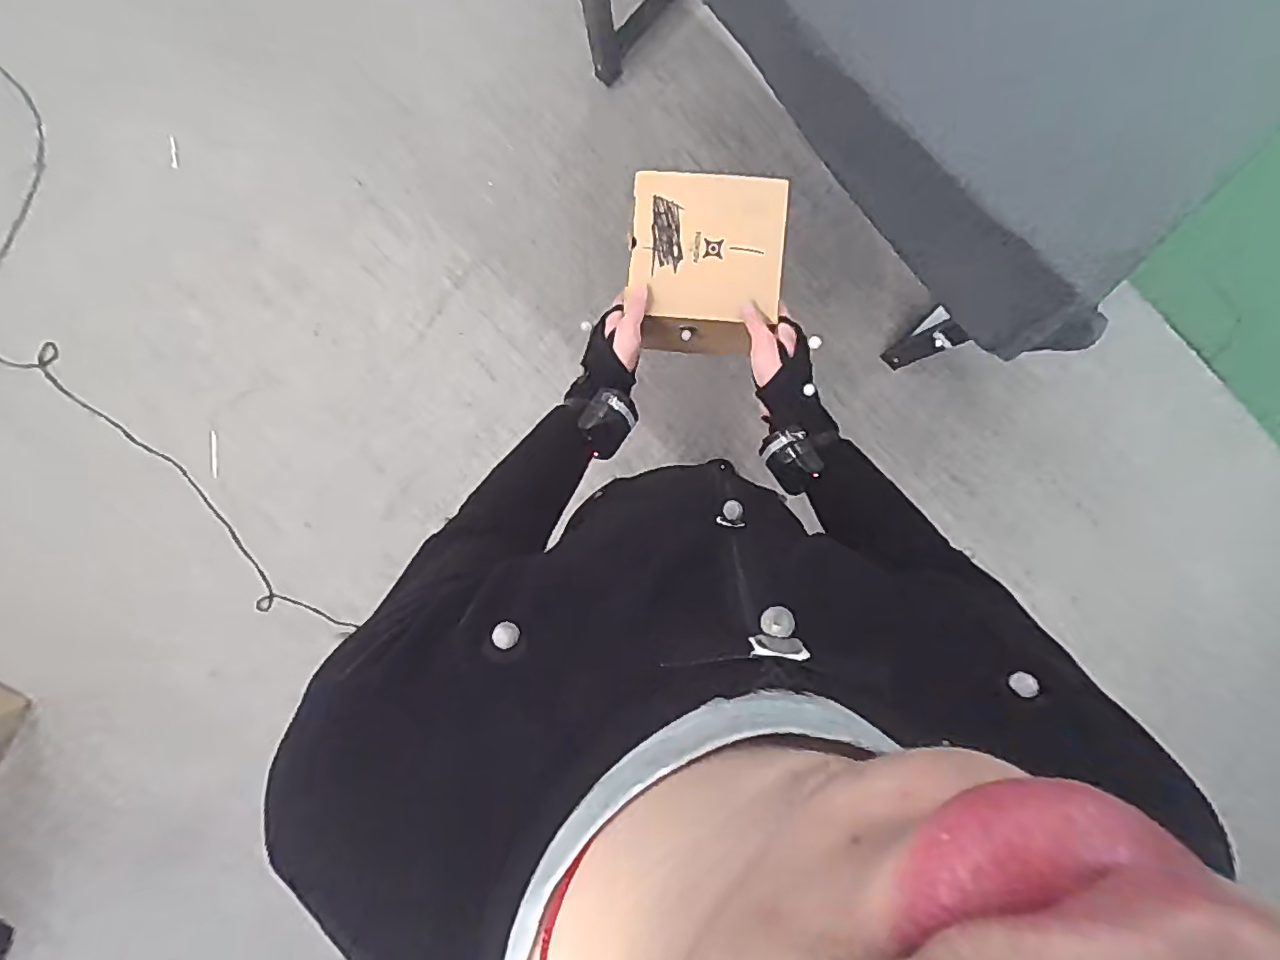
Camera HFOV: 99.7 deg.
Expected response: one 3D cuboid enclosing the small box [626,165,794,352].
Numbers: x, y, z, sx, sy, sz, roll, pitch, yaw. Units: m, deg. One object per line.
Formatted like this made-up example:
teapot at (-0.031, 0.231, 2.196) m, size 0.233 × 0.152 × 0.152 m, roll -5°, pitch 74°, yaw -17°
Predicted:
small box at (0.079, -0.264, 0.682) m, size 0.179 × 0.176 × 0.168 m, roll 5°, pitch 91°, yaw 0°
